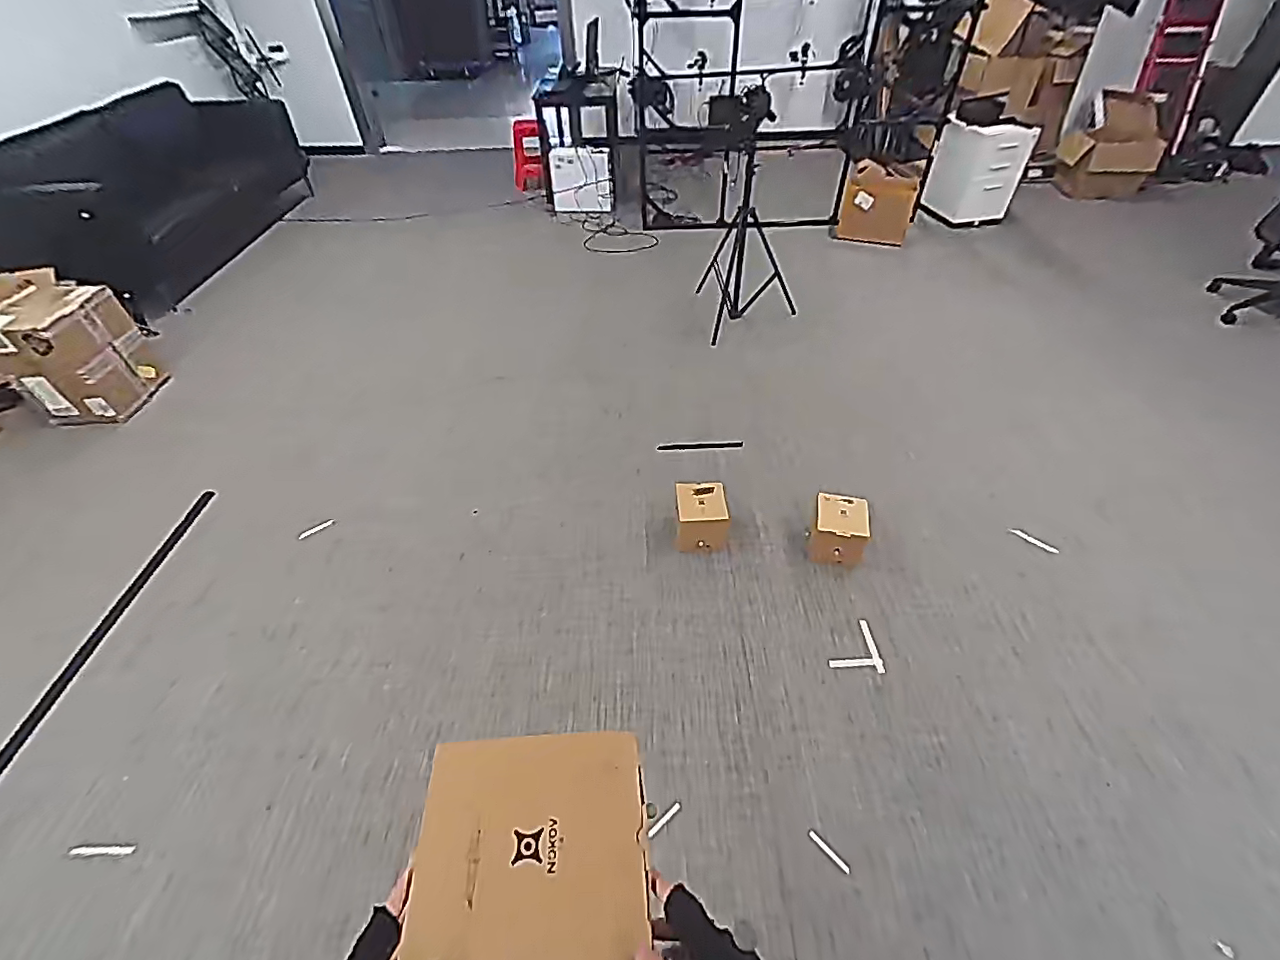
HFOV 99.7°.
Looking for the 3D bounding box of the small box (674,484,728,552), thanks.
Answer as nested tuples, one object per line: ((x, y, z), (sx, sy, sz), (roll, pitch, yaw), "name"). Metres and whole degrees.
((0.211, 0.135, 1.911), (0.168, 0.176, 0.179), (-3, 46, -1), "small box")

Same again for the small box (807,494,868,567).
((0.675, 0.176, 1.855), (0.168, 0.176, 0.179), (9, 46, 10), "small box")

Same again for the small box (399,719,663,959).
((-0.080, 0.326, 0.464), (0.179, 0.176, 0.168), (-3, 43, -4), "small box")
